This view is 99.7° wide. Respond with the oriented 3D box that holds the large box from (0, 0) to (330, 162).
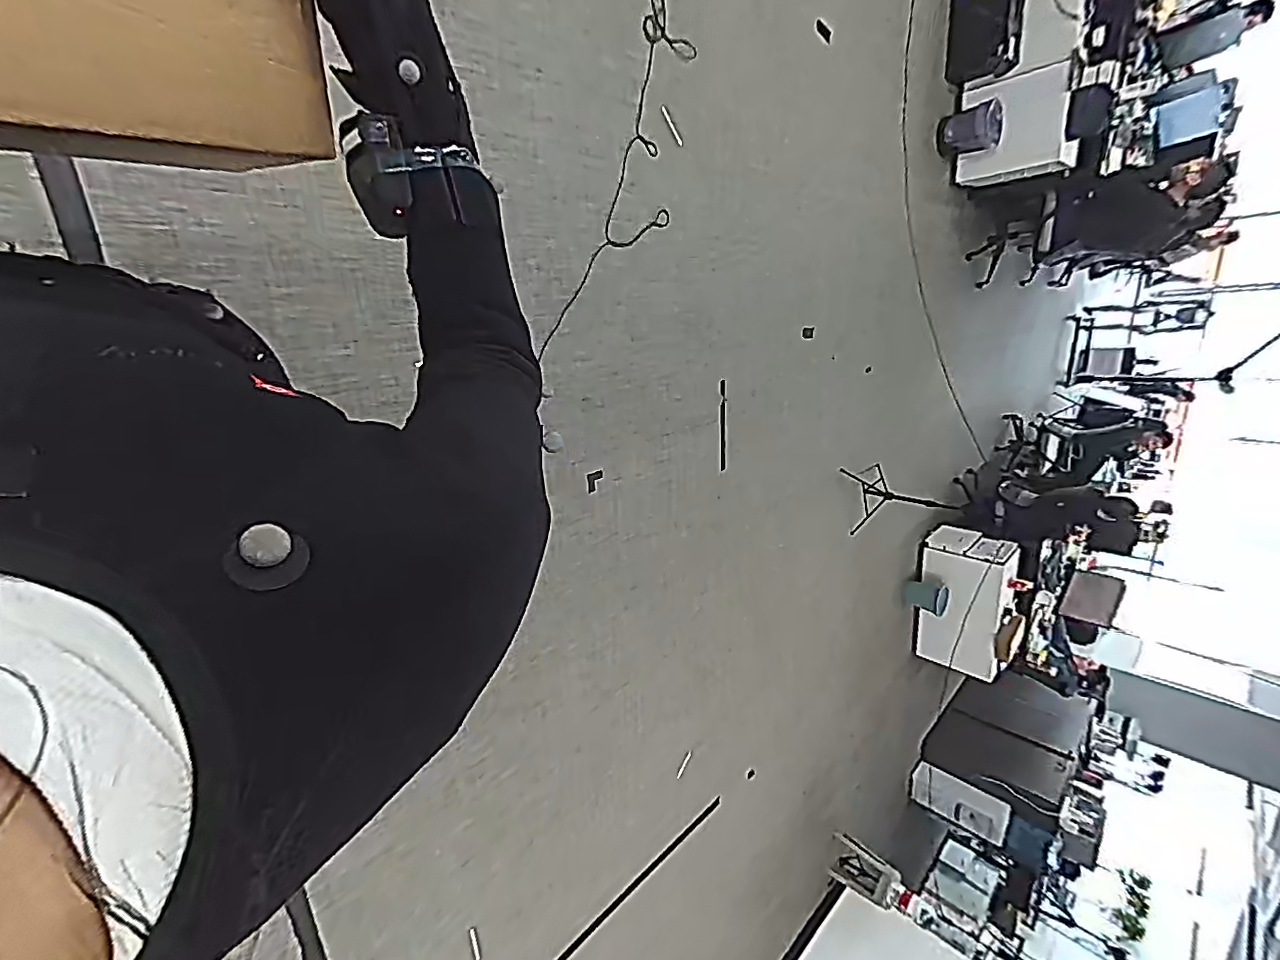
[{"bbox_3d":[-0.462,-0.370,0.293,0.408,0.320,0.320,-20,125,-40],"label":"large box"}]
